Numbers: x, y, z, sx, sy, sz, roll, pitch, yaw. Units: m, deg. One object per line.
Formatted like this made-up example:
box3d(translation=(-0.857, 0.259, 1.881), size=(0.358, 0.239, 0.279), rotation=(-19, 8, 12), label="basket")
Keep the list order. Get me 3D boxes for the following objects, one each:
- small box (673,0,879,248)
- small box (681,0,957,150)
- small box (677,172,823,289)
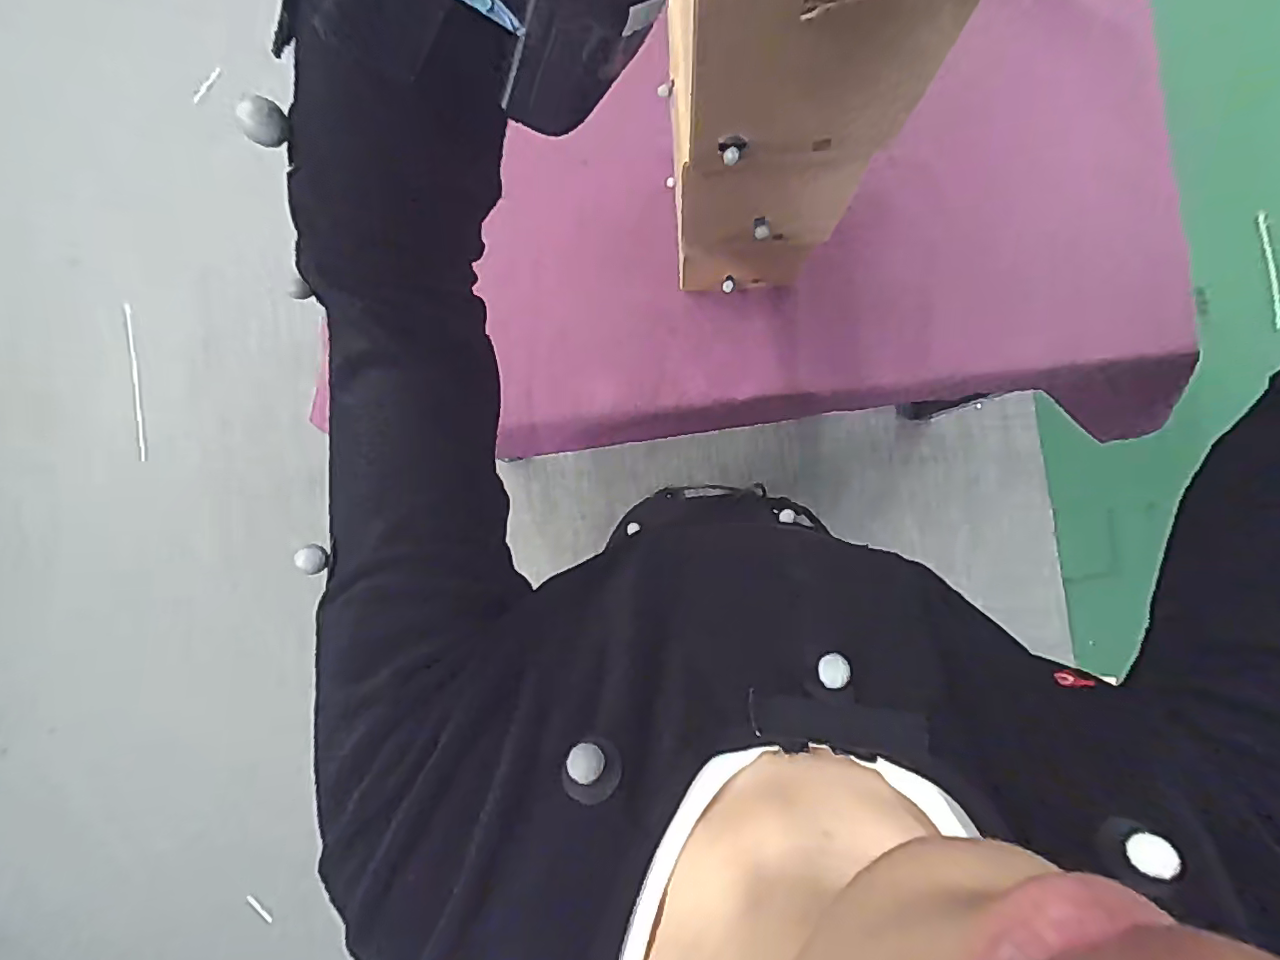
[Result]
box3d(translation=(0.119, -0.358, 0.534), size=(0.168, 0.176, 0.179), rotation=(-4, 87, 5), label="small box")
box3d(translation=(0.112, -0.356, 0.370), size=(0.168, 0.176, 0.179), rotation=(-3, 87, 4), label="small box")
box3d(translation=(0.133, -0.367, 0.698), size=(0.168, 0.176, 0.179), rotation=(-2, 88, 4), label="small box")
